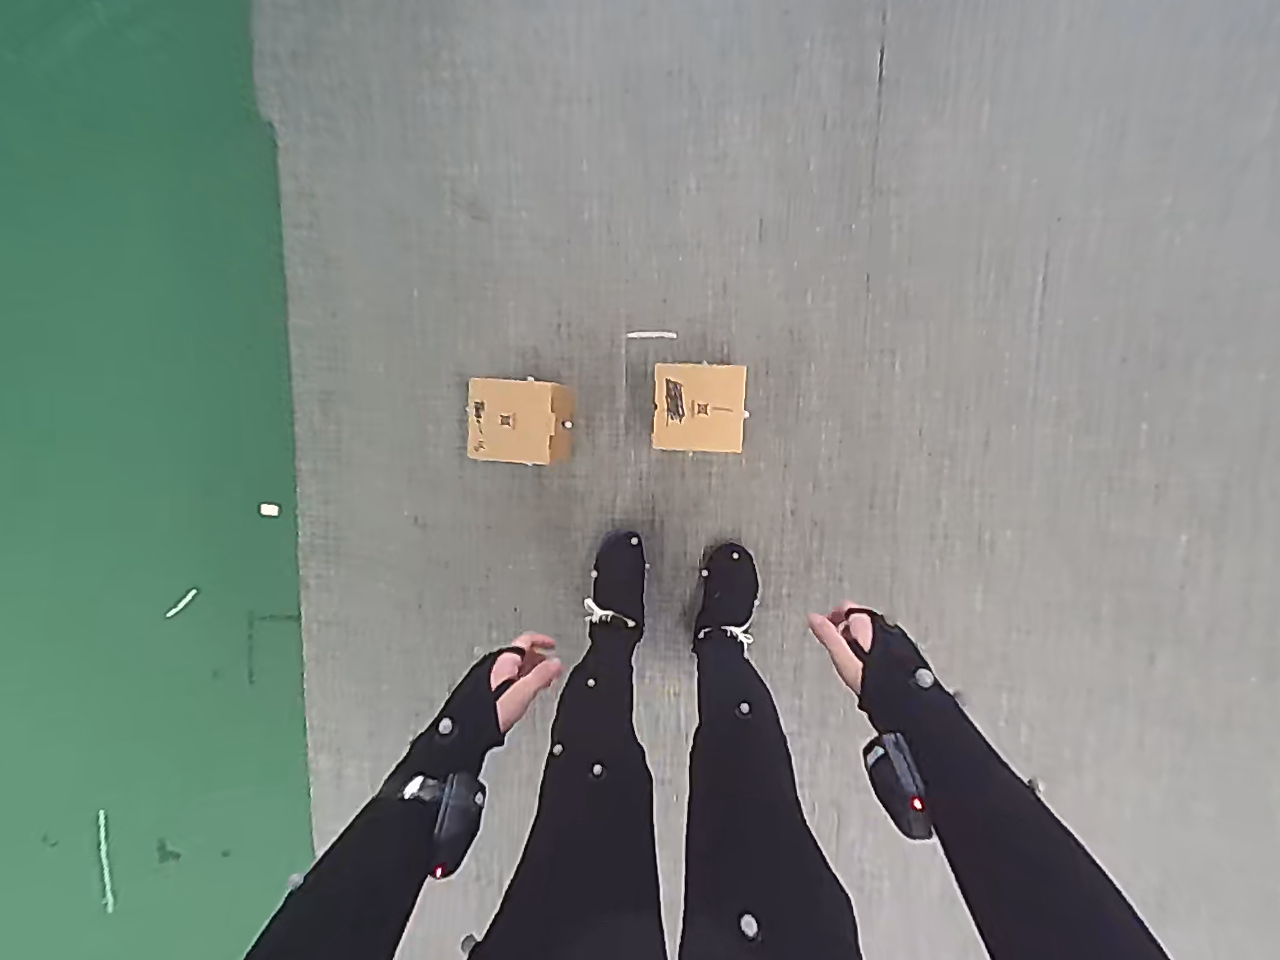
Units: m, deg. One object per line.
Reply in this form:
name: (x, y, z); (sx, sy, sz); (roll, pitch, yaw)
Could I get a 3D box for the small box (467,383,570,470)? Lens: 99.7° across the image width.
small box: (-0.253, -0.115, 1.157); (0.179, 0.176, 0.168); (4, 96, 6)

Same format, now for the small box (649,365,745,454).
small box: (0.117, -0.140, 1.105); (0.179, 0.176, 0.168); (3, 96, 6)
